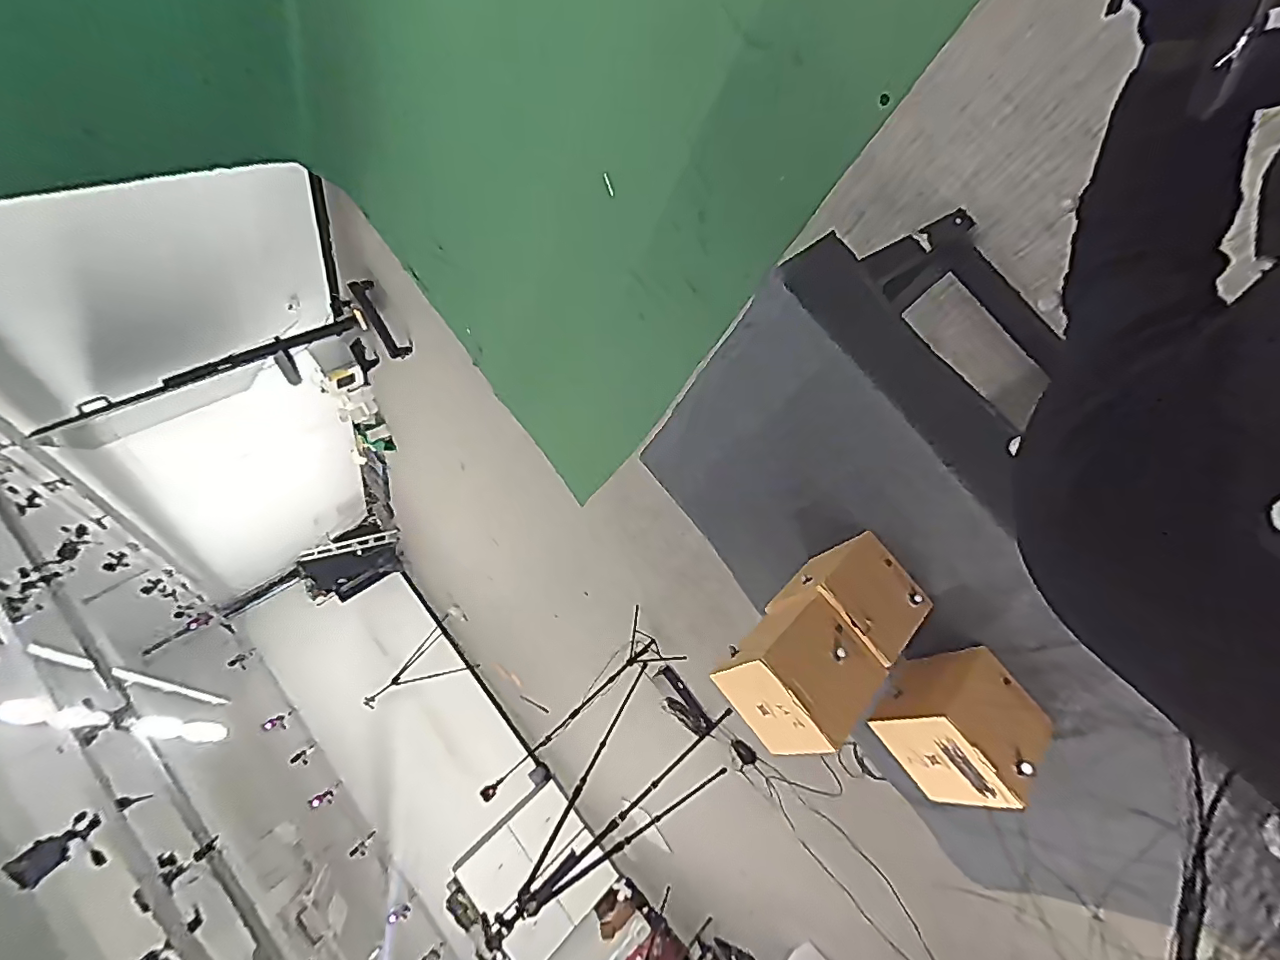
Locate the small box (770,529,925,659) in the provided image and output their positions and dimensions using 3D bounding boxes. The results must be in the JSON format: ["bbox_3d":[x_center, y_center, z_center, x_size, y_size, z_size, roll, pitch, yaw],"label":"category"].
[{"bbox_3d":[0.377,0.213,0.971,0.168,0.176,0.179,51,148,8],"label":"small box"}]

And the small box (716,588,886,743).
[{"bbox_3d":[0.264,0.307,0.895,0.168,0.176,0.179,50,147,9],"label":"small box"}]
